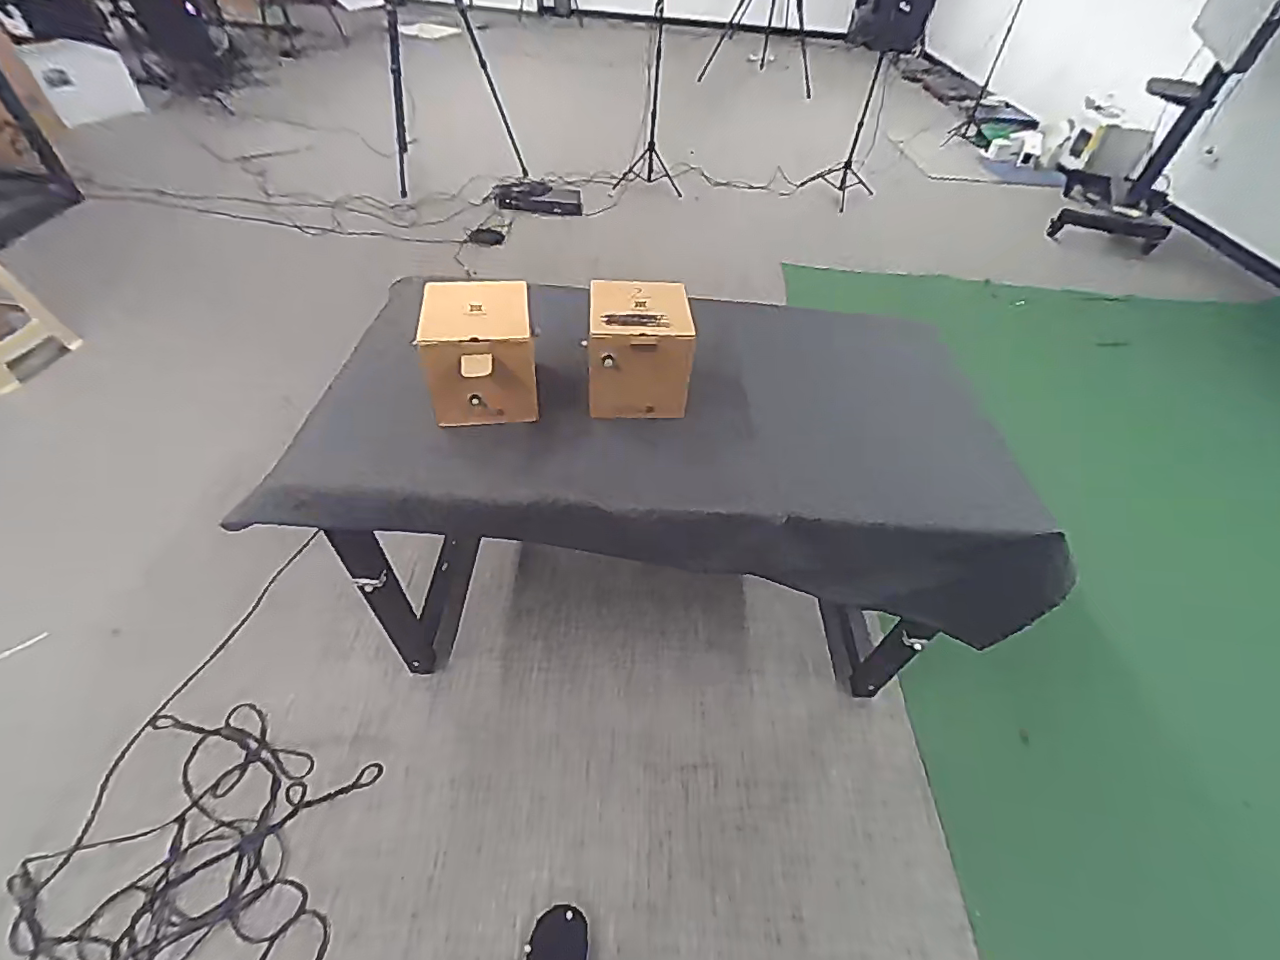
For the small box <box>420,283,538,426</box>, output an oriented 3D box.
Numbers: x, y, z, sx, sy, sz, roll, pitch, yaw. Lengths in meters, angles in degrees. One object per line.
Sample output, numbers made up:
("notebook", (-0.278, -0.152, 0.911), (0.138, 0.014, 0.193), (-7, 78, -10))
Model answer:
("small box", (-0.261, -0.212, 0.911), (0.168, 0.176, 0.179), (-5, 49, -10))
